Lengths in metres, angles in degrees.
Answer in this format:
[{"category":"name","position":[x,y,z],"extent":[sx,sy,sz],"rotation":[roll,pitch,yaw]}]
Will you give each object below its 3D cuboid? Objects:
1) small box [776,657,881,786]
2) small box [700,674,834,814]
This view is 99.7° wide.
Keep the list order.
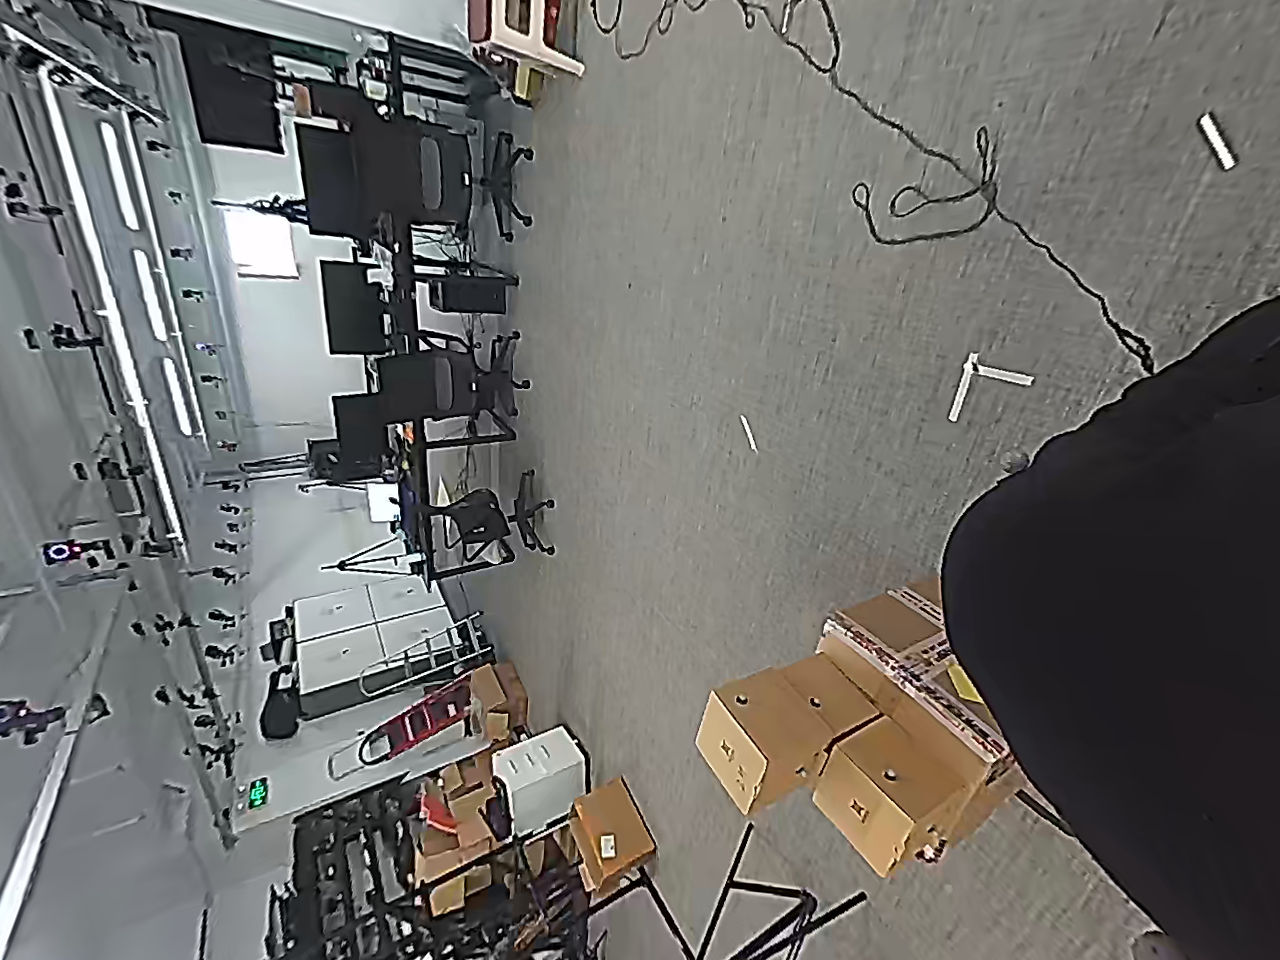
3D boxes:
[{"category":"small box","position":[0.386,0.517,1.181],"extent":[0.179,0.176,0.168],"rotation":[48,135,46]},{"category":"small box","position":[0.250,0.515,1.085],"extent":[0.179,0.176,0.168],"rotation":[44,133,48]}]
